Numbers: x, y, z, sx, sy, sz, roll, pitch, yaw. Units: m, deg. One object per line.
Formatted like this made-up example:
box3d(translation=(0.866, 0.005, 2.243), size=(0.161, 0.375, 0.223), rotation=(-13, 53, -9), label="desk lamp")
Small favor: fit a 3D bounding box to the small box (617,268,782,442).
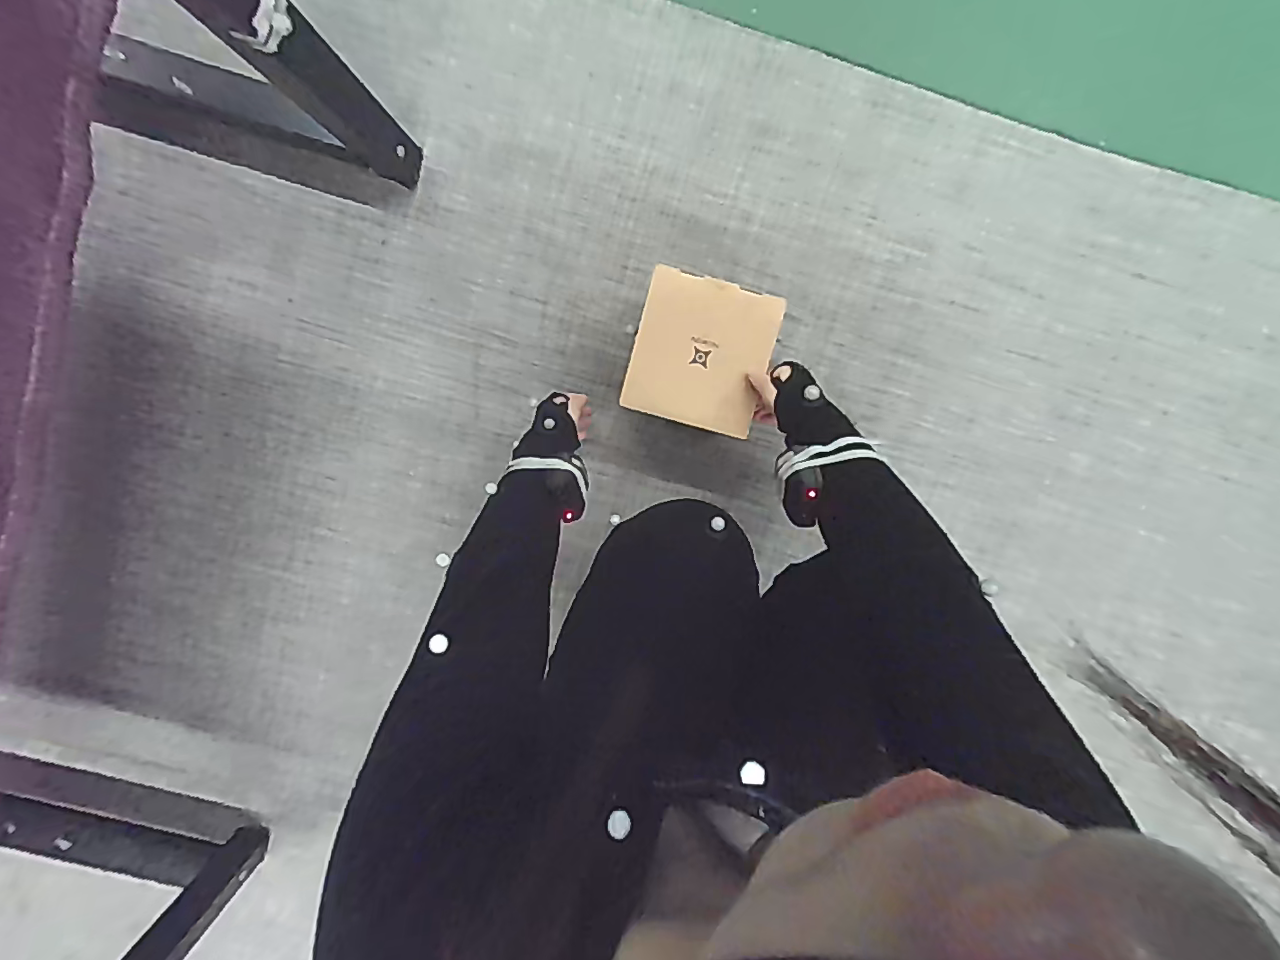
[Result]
box3d(translation=(0.072, -0.162, 0.735), size=(0.168, 0.176, 0.179), rotation=(14, 98, -3), label="small box")
